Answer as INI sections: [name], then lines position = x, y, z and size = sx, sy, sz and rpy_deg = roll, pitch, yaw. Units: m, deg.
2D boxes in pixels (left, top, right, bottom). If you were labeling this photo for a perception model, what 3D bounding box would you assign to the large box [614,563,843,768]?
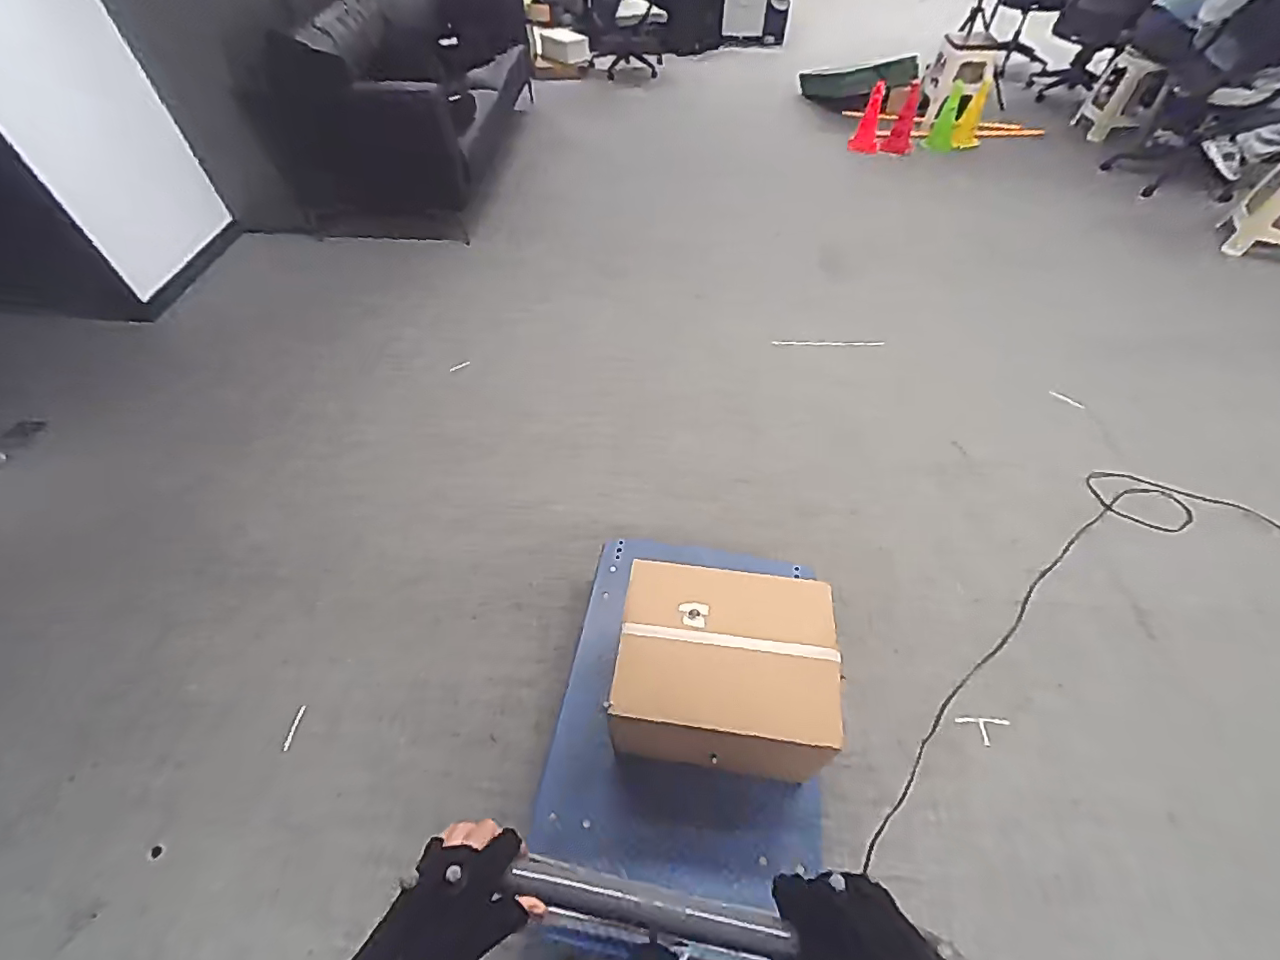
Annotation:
[large box]
position = 0.174, 0.397, 1.146
size = 0.408, 0.320, 0.320
rpy_deg = 4, 52, 6
